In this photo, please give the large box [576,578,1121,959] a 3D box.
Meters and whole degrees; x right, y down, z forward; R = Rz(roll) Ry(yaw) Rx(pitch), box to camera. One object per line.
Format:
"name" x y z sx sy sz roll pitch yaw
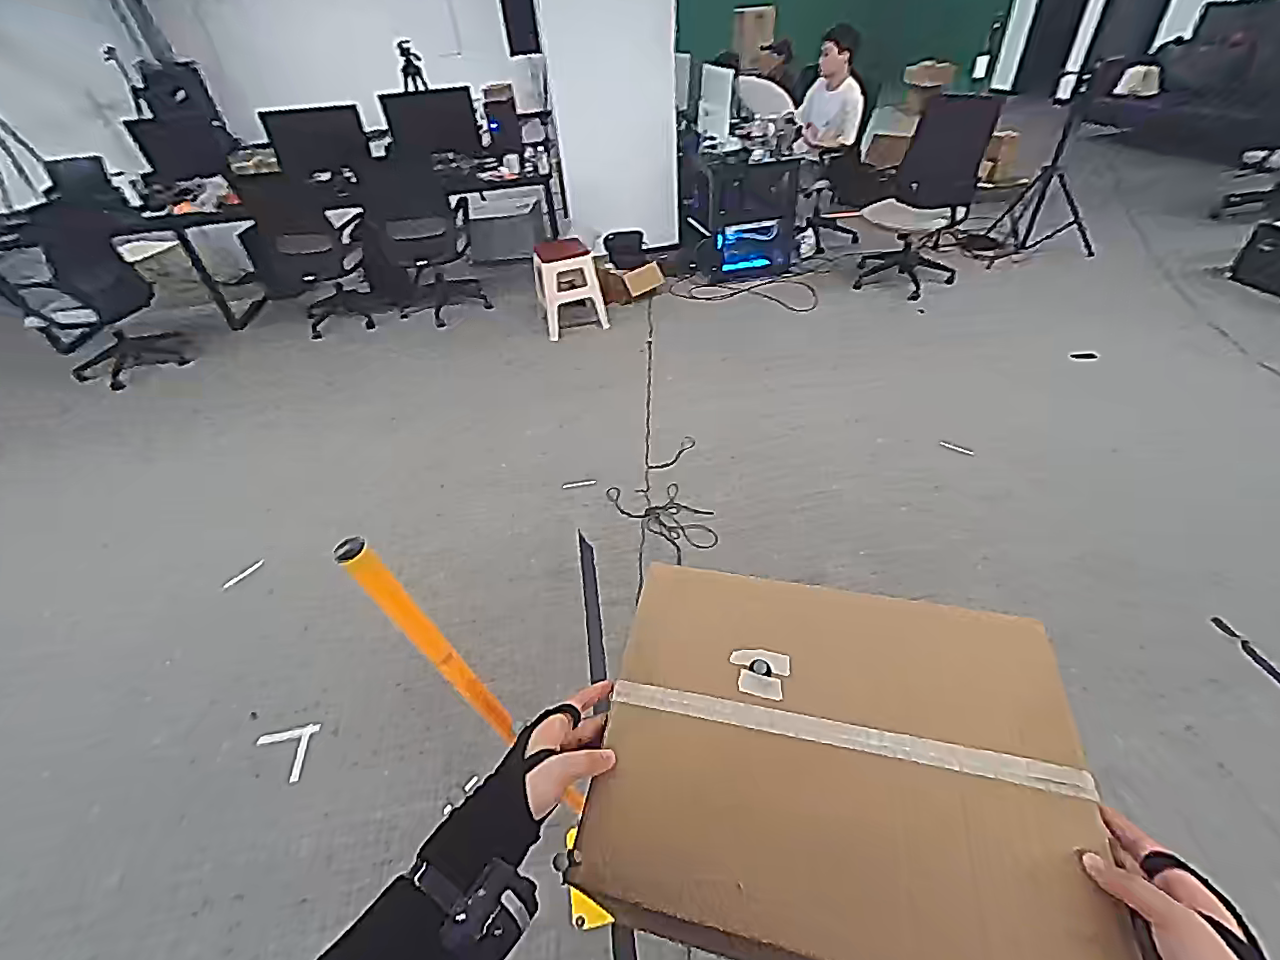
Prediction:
"large box" 0.188 0.344 0.605 0.408 0.320 0.320 6 46 13
